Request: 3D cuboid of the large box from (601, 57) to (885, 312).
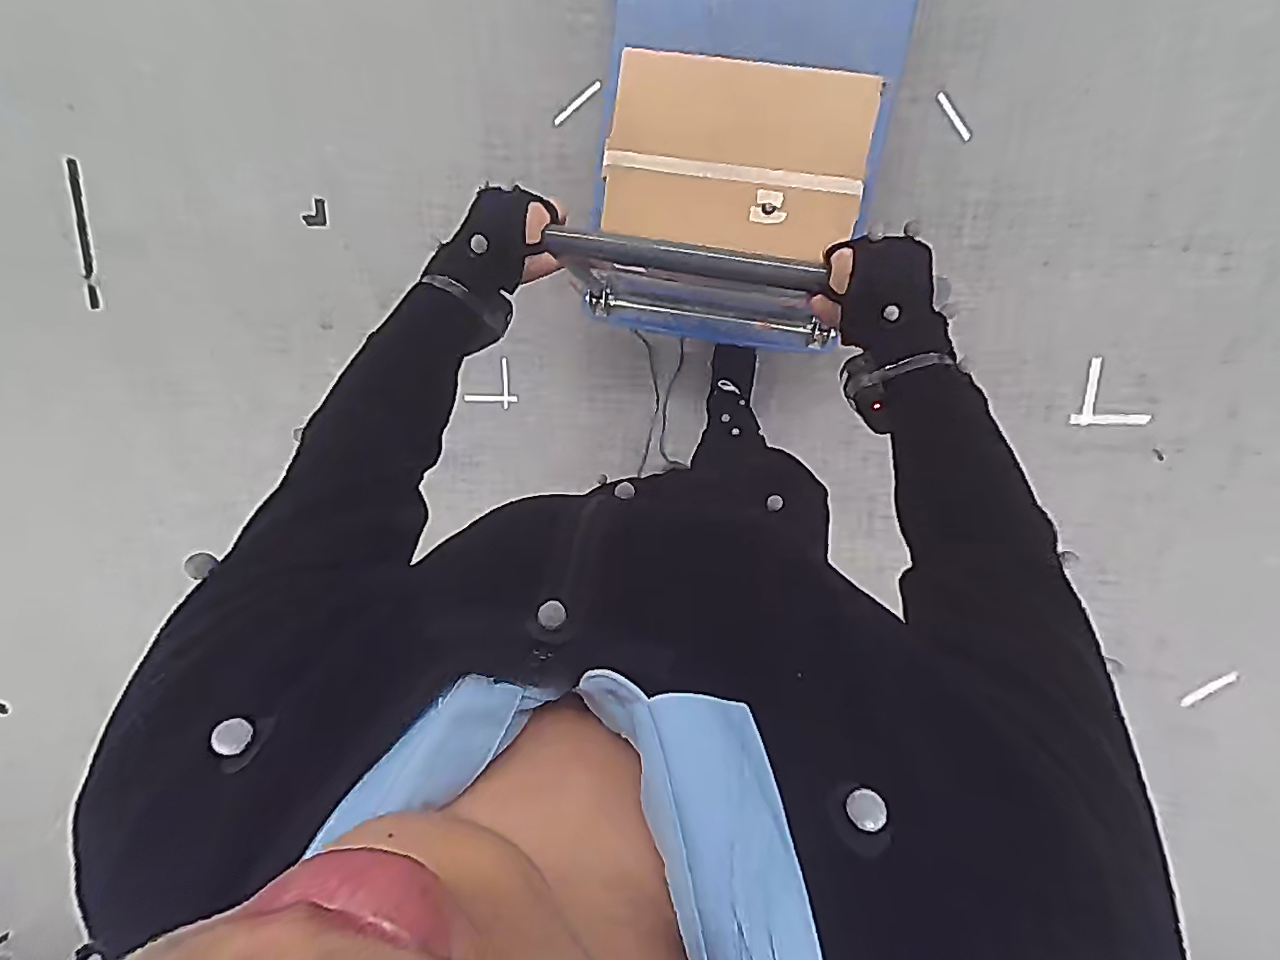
[{"bbox_3d":[0.163,-0.505,0.995,0.408,0.320,0.320,10,104,4],"label":"large box"}]
